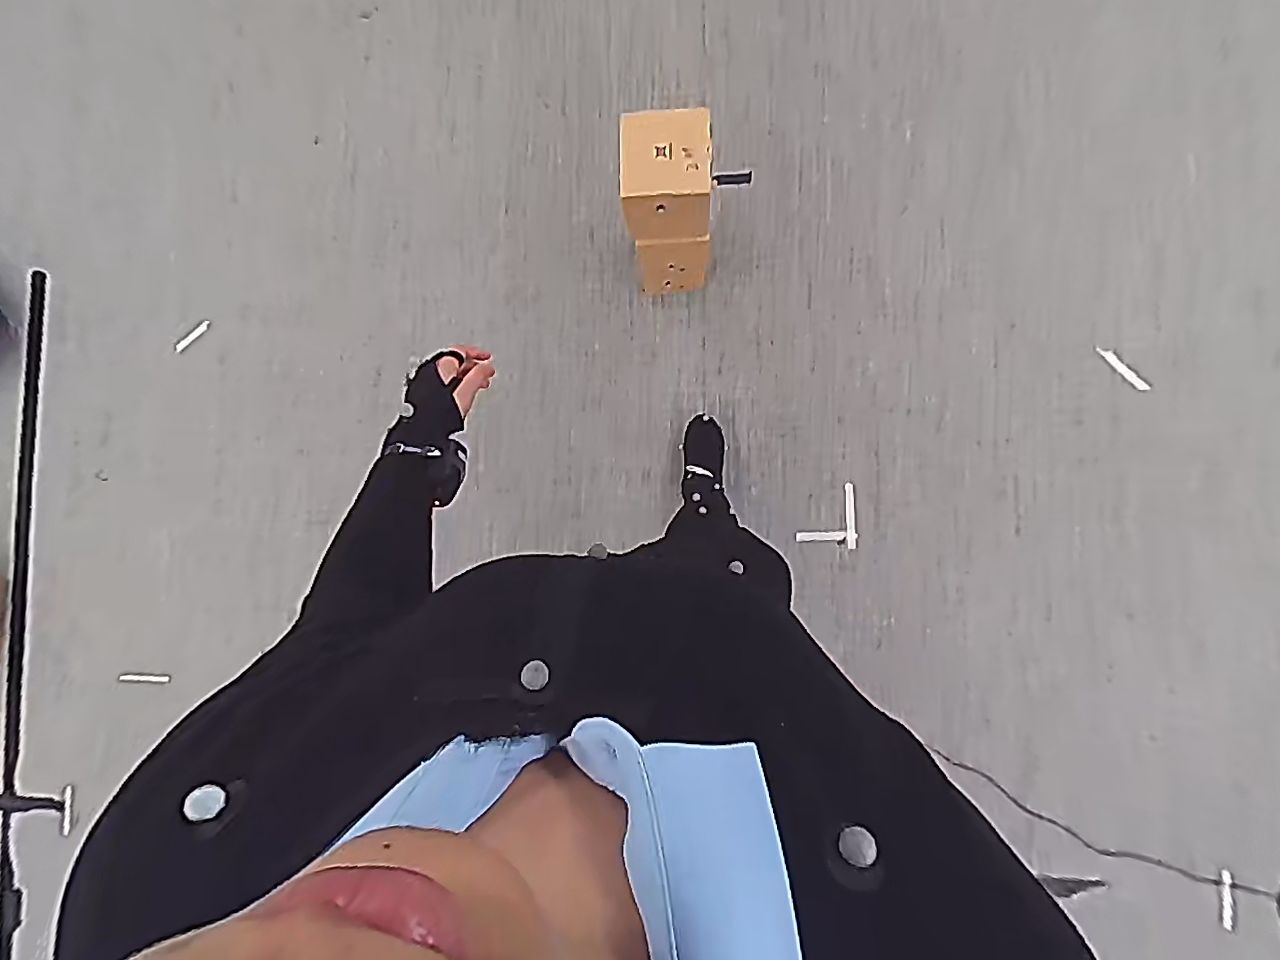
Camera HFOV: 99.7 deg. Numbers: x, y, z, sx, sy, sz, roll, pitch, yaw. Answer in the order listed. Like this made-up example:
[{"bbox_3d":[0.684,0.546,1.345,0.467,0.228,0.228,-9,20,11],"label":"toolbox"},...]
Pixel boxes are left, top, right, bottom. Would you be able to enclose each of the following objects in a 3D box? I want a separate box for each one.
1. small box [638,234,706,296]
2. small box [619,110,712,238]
[{"bbox_3d":[0.081,-0.607,1.424,0.168,0.176,0.179,-5,87,5],"label":"small box"},{"bbox_3d":[0.055,-0.608,1.095,0.179,0.176,0.168,0,89,4],"label":"small box"}]
